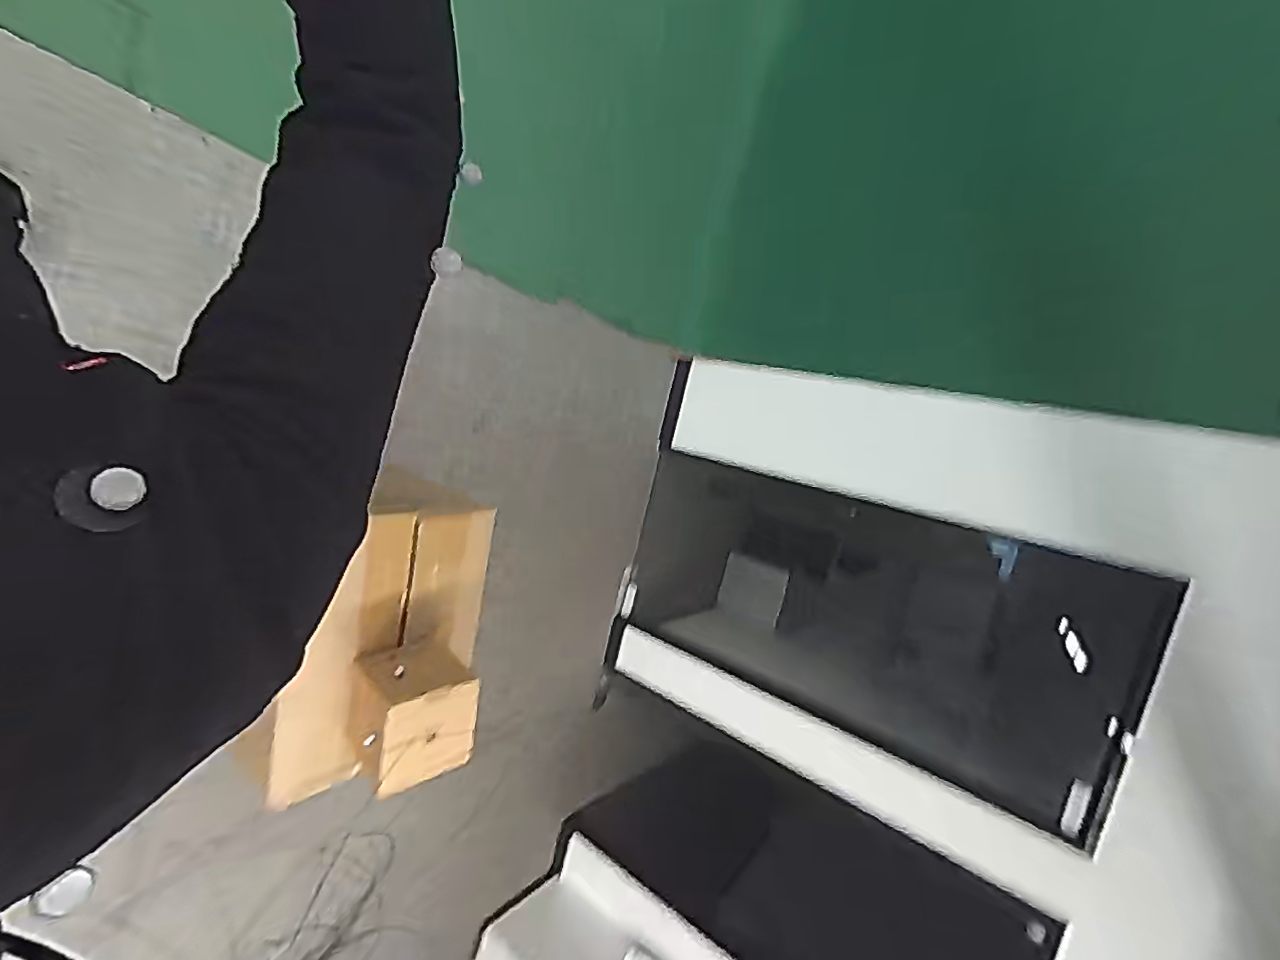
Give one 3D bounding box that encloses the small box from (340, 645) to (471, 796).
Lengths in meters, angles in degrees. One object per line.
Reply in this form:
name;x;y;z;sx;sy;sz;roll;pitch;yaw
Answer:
small box;-0.435;0.425;0.998;0.168;0.176;0.179;-2;107;-46
